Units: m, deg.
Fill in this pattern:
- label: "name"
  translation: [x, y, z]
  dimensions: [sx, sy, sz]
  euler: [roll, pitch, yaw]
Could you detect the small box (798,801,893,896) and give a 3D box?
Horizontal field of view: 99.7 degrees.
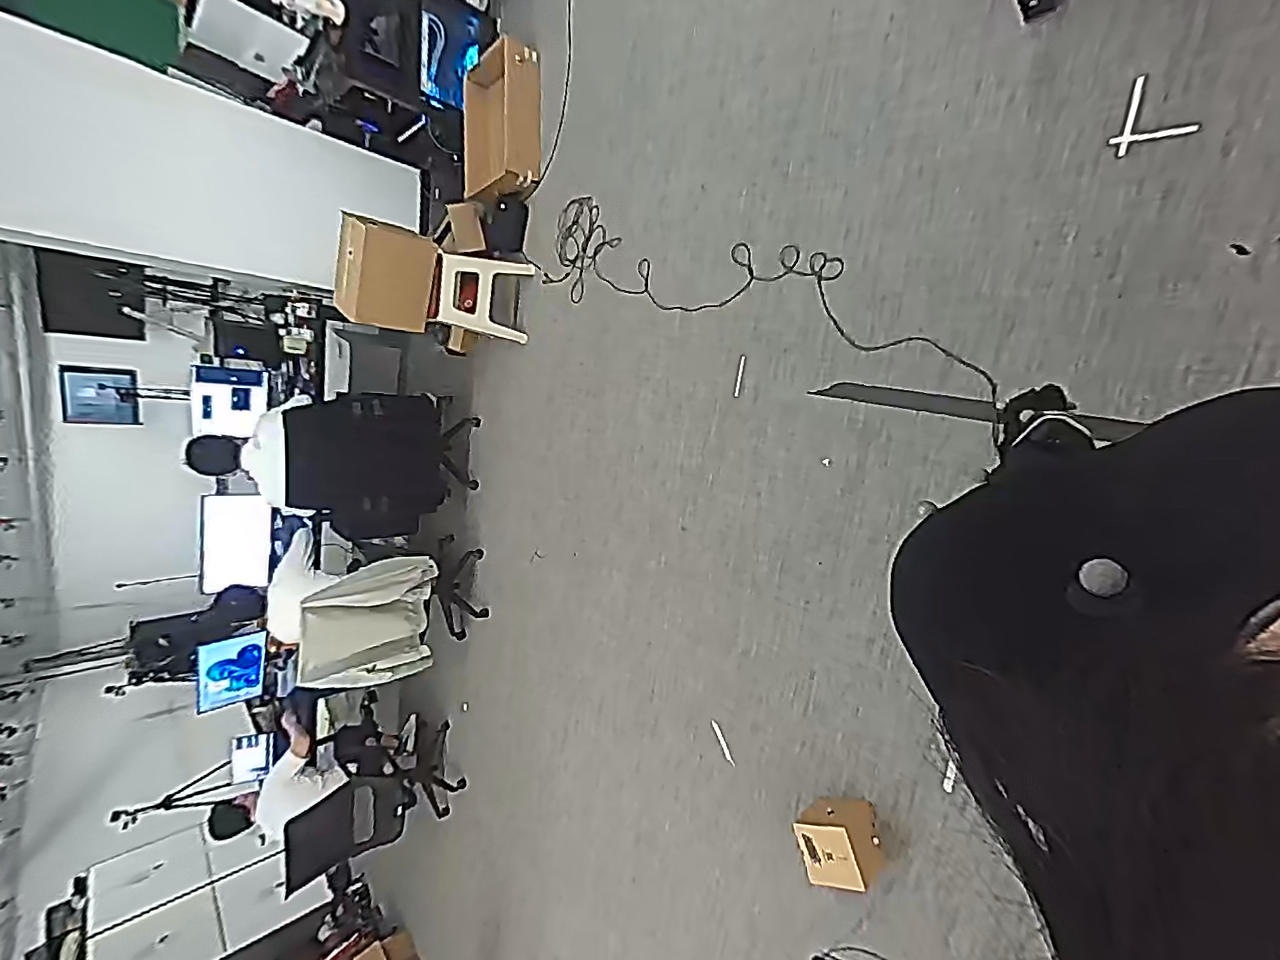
- label: "small box"
  translation: [0.596, 1.056, 1.566]
  dimensions: [0.179, 0.176, 0.168]
  euler: [-28, 73, 42]
